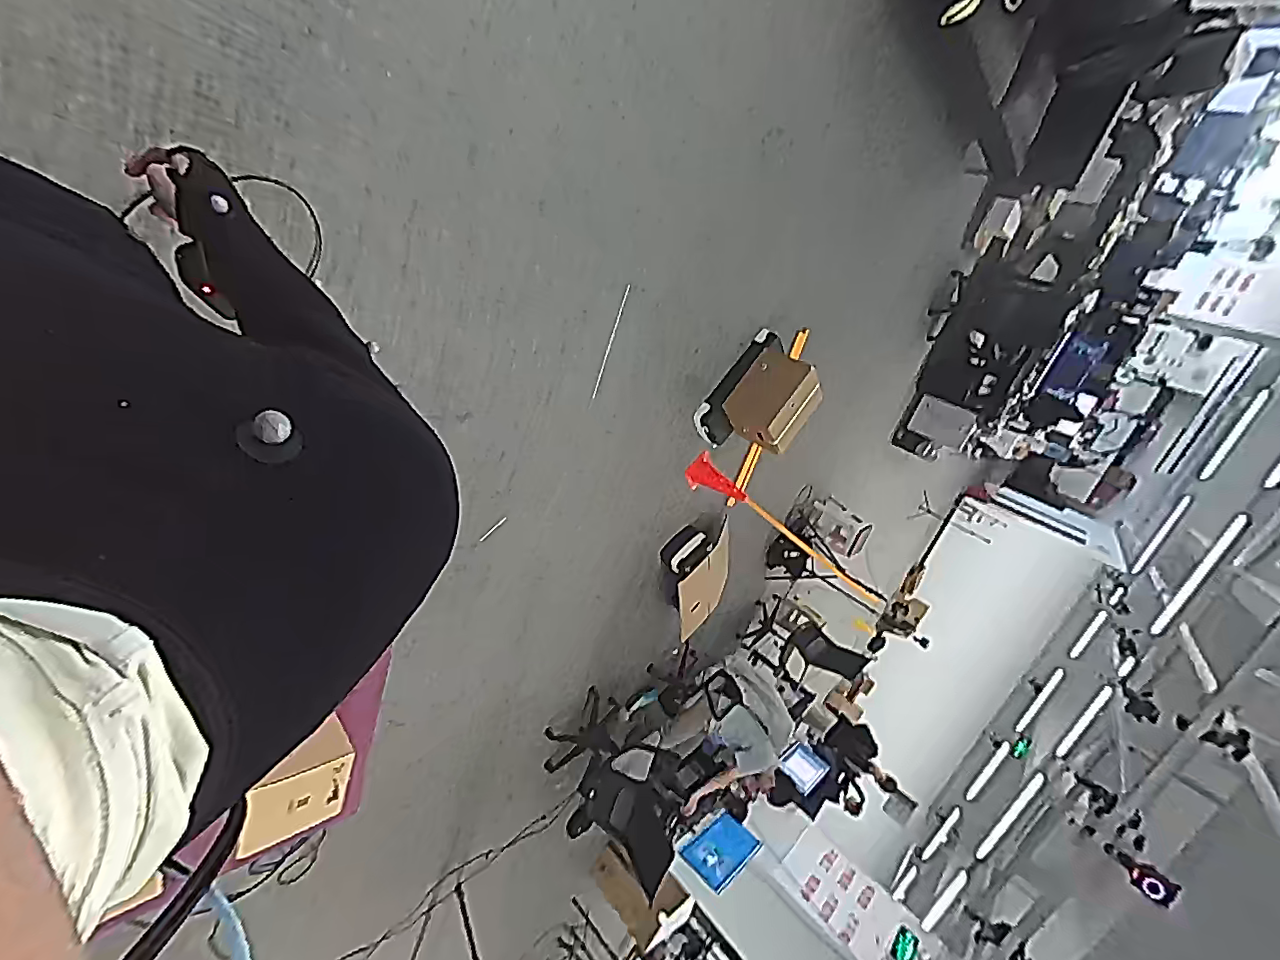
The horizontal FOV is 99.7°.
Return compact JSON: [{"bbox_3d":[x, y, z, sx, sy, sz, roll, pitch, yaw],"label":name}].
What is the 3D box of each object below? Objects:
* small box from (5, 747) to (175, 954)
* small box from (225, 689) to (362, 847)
[{"bbox_3d":[-0.838,0.546,0.830,0.168,0.176,0.179,-8,124,-48],"label":"small box"},{"bbox_3d":[-0.667,0.537,1.035,0.179,0.176,0.168,-1,118,-50],"label":"small box"}]
